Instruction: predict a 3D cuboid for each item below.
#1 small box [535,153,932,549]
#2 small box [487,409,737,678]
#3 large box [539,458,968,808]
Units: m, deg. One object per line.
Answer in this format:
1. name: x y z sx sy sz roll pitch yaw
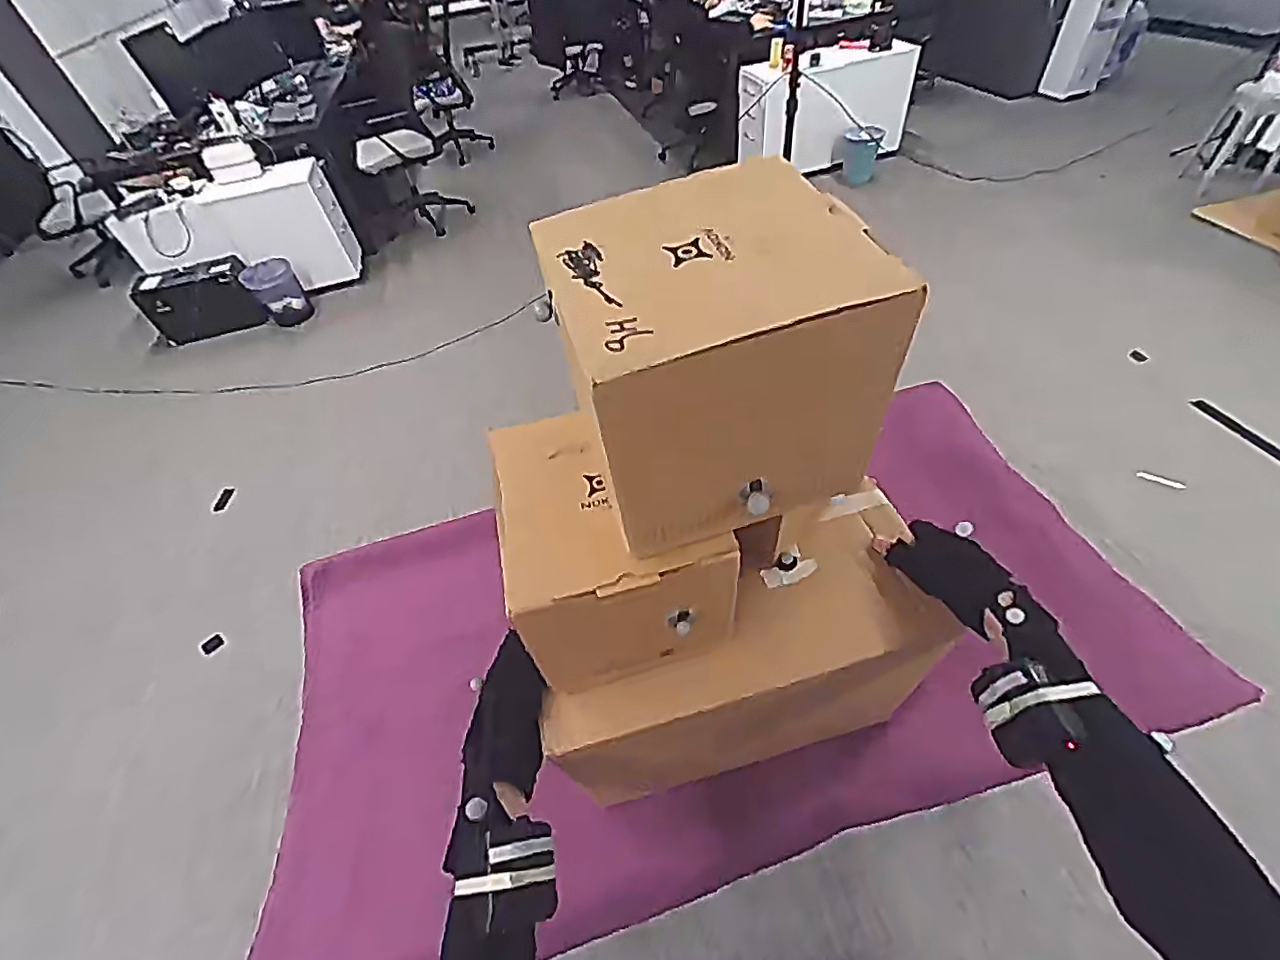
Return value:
1. small box: 0.045 -0.080 0.360 0.179 0.176 0.168 -17 52 -5
2. small box: -0.024 0.054 0.473 0.168 0.176 0.179 -14 50 -6
3. large box: 0.088 0.163 0.685 0.408 0.320 0.320 -15 52 -6
